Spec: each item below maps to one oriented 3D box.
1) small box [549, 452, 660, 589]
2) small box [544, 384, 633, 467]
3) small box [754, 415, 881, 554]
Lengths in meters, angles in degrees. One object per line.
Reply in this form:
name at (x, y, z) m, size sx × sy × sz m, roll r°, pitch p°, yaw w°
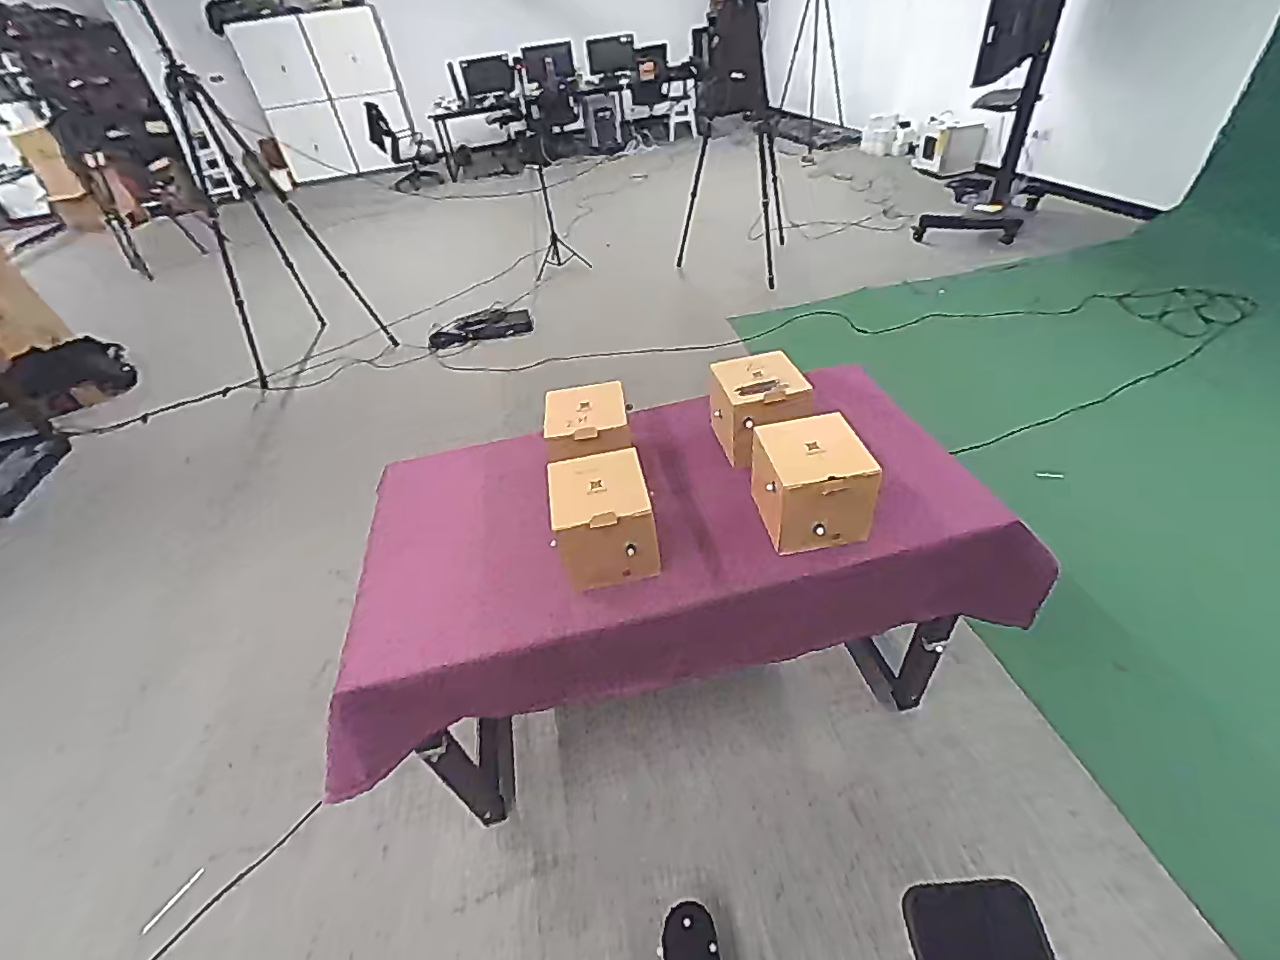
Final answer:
small box at (-0.064, 0.078, 0.977) m, size 0.168 × 0.176 × 0.179 m, roll -11°, pitch 40°, yaw -3°
small box at (-0.104, -0.081, 1.162) m, size 0.168 × 0.176 × 0.179 m, roll -9°, pitch 41°, yaw 1°
small box at (0.309, 0.007, 0.986) m, size 0.168 × 0.176 × 0.179 m, roll -10°, pitch 41°, yaw -1°
